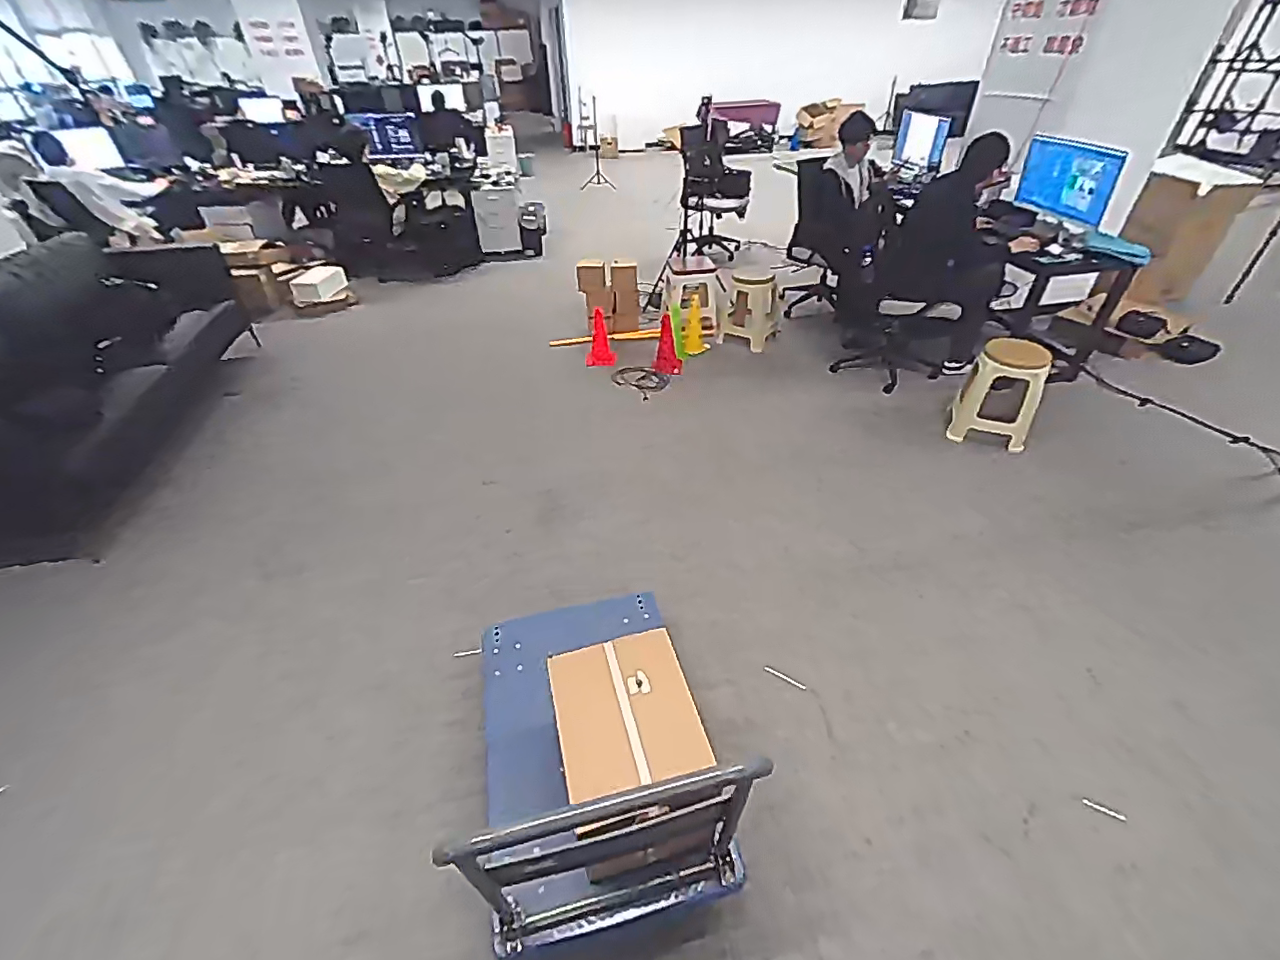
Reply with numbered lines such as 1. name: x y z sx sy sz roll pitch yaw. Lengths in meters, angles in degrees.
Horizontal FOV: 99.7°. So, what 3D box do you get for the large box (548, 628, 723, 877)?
1. large box: -0.023 0.649 1.320 0.320 0.320 0.408 -11 40 -12
